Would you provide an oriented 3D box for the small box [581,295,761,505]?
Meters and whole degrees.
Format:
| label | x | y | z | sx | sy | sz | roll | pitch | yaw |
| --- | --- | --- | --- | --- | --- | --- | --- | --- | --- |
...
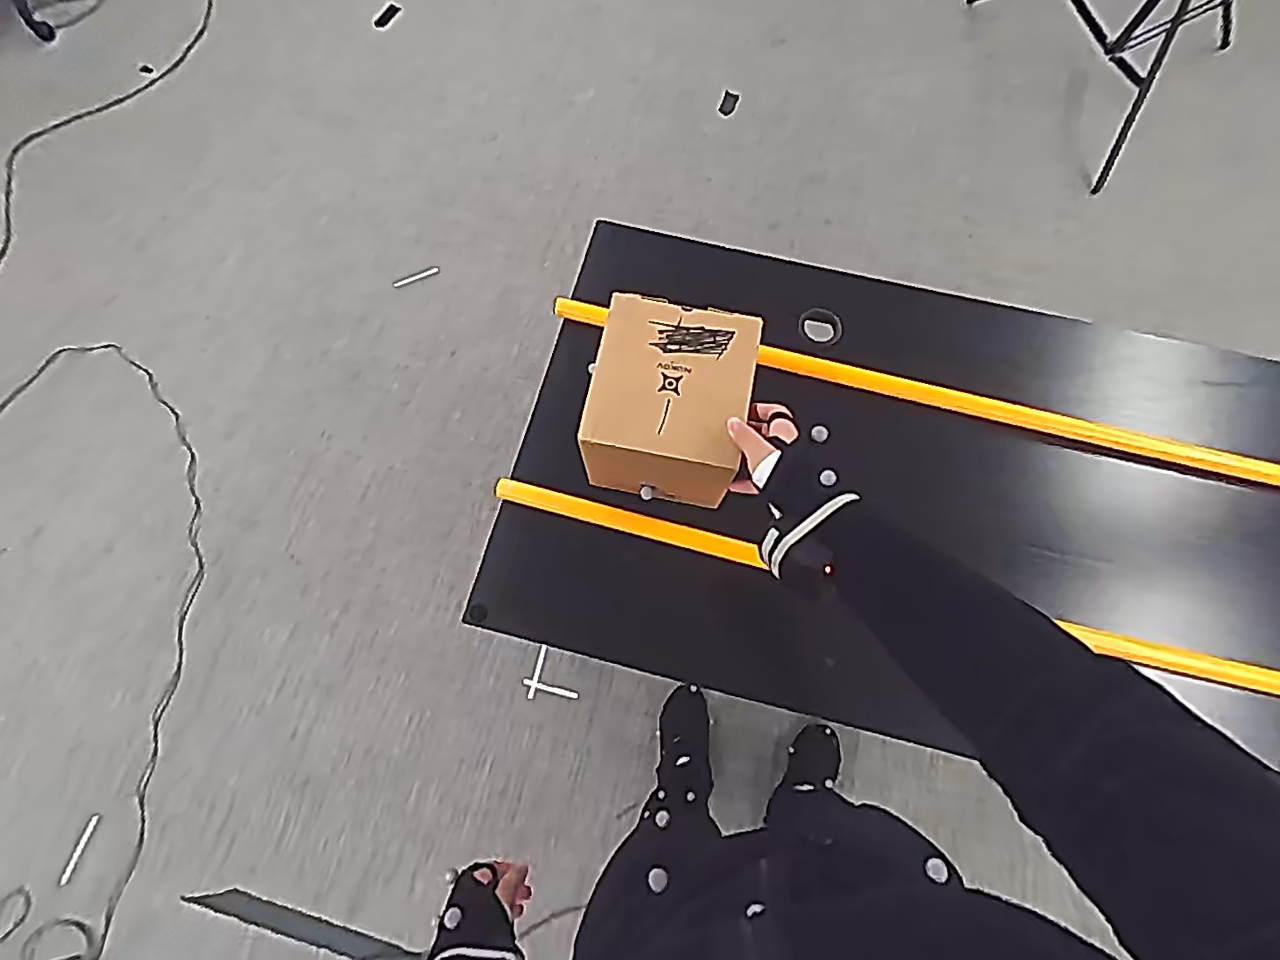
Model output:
| label | x | y | z | sx | sy | sz | roll | pitch | yaw |
| --- | --- | --- | --- | --- | --- | --- | --- | --- | --- |
| small box | 0.034 | -0.084 | 0.641 | 0.168 | 0.176 | 0.179 | 11 | 74 | 3 |
